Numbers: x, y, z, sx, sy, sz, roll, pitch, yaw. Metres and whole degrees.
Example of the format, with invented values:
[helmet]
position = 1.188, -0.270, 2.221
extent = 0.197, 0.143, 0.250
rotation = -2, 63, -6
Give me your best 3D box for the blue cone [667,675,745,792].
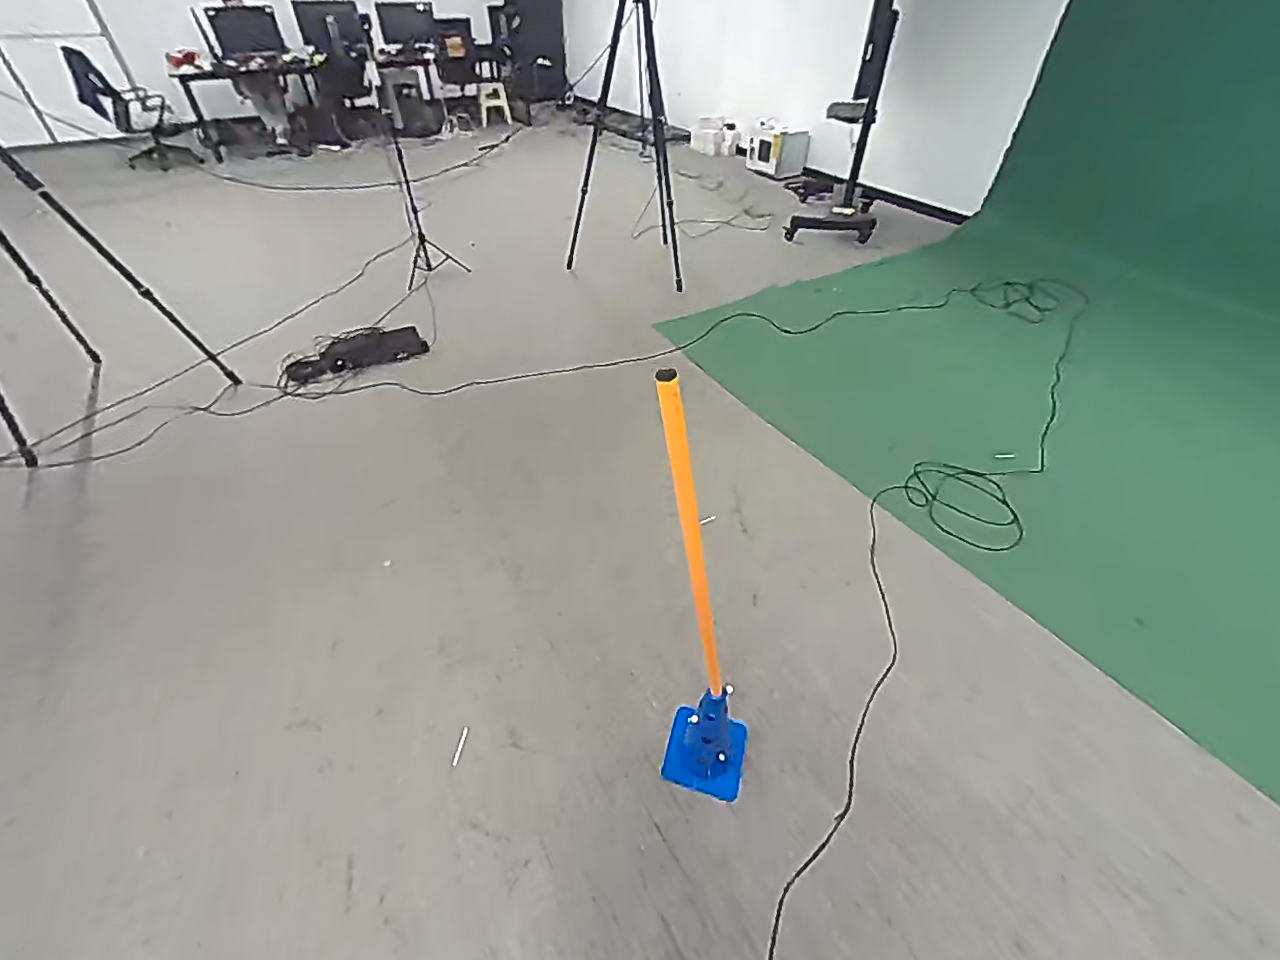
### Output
[blue cone]
position = 0.170, 0.580, 1.294
extent = 0.193, 0.380, 0.192
rotation = 10, 45, 12
